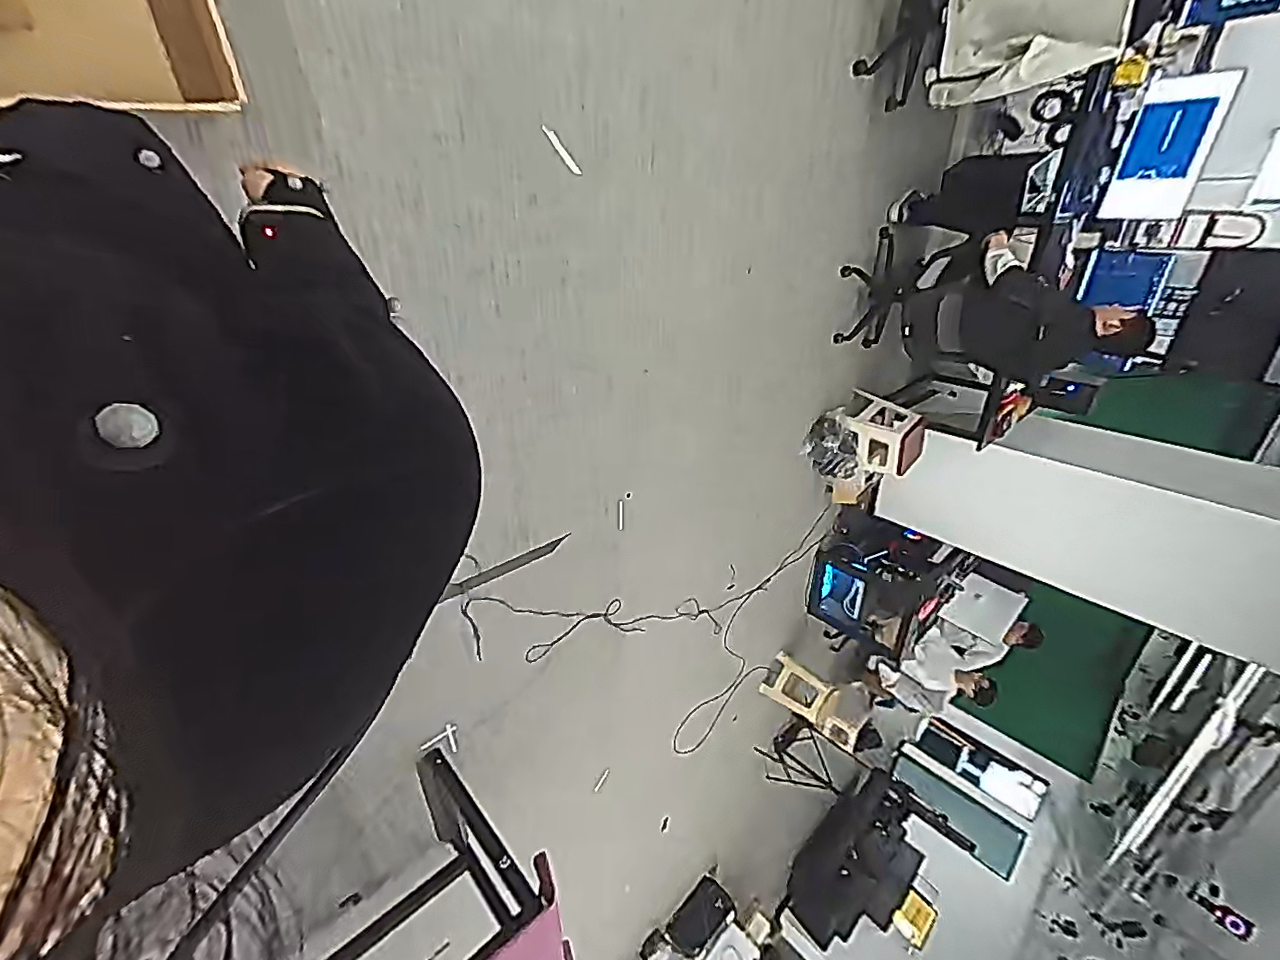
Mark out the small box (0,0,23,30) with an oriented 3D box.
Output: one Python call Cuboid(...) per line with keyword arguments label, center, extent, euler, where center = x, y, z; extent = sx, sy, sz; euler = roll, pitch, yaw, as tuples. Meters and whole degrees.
Cuboid(label="small box", center=(-0.974, -0.725, 0.708), extent=(0.168, 0.176, 0.179), euler=(-29, 128, -34))
